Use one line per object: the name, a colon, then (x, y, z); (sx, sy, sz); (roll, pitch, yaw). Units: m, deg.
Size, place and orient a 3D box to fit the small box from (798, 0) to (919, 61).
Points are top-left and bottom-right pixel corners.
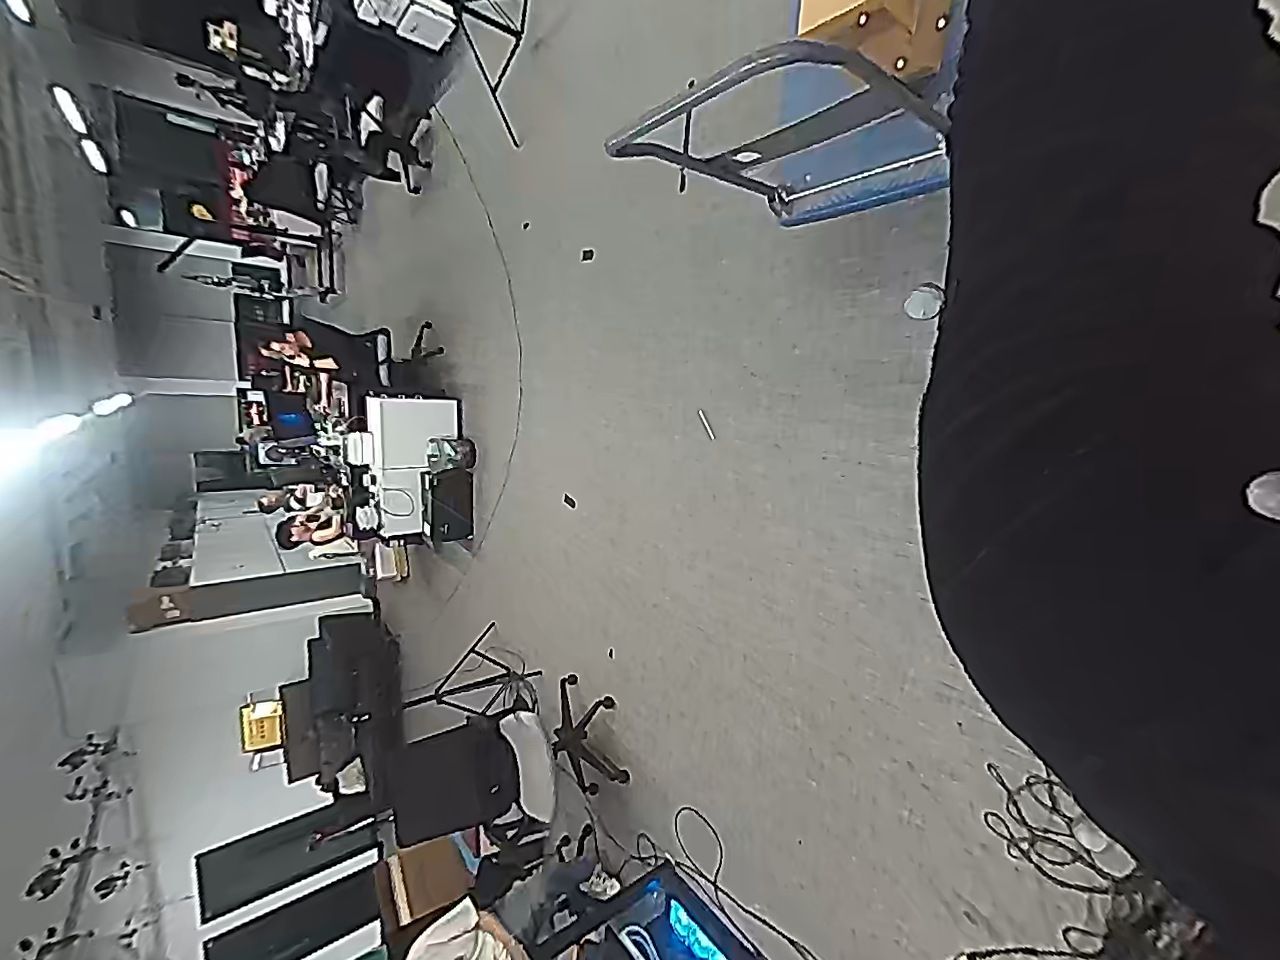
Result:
small box: (0.456, -1.014, 1.114); (0.179, 0.176, 0.168); (15, 106, 49)
